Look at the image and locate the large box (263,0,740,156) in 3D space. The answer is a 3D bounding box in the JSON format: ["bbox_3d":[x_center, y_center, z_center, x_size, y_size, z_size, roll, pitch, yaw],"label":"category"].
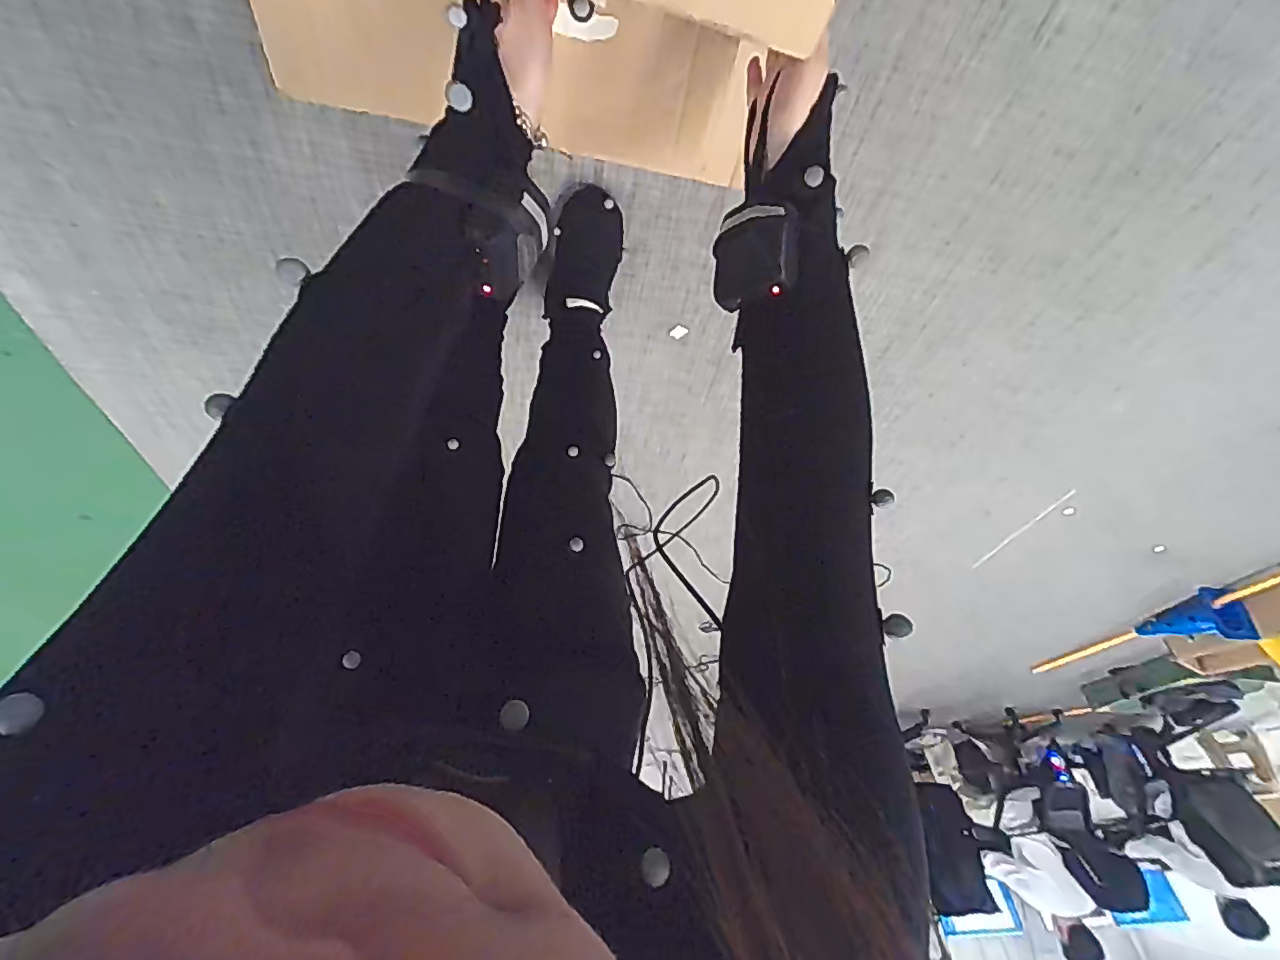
[{"bbox_3d":[-0.107,-0.550,0.494,0.408,0.320,0.320,4,142,-10],"label":"large box"}]

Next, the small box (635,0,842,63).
[{"bbox_3d":[0.047,-0.387,0.312,0.179,0.176,0.168,9,140,-13],"label":"small box"}]
